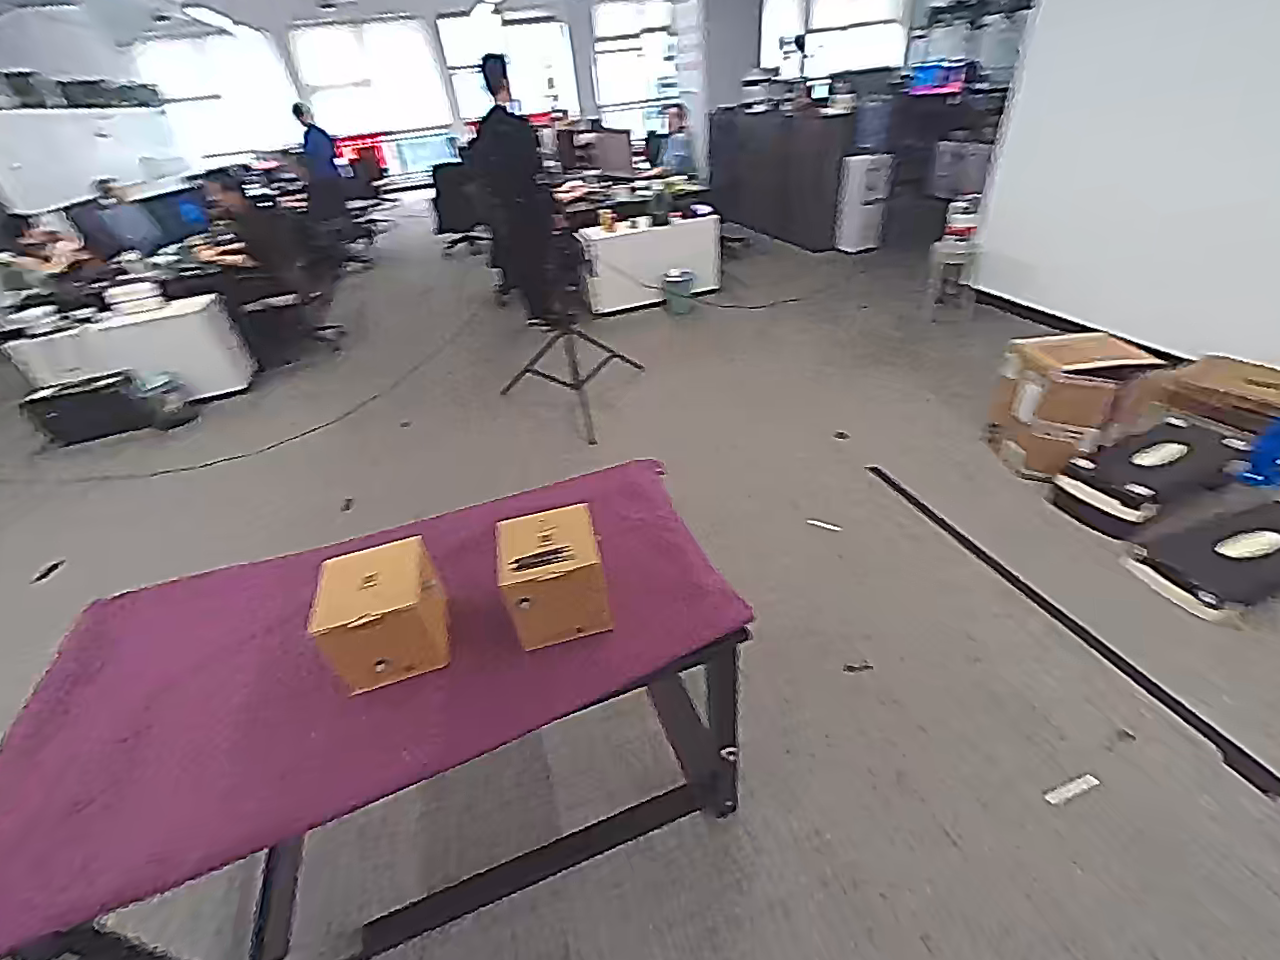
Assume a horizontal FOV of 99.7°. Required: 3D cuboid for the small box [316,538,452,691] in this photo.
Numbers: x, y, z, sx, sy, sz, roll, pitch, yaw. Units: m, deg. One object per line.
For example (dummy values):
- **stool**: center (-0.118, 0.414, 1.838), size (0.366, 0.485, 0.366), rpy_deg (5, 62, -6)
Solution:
- **small box**: center (-0.442, 0.237, 0.963), size (0.168, 0.176, 0.179), rpy_deg (-15, 37, -11)
